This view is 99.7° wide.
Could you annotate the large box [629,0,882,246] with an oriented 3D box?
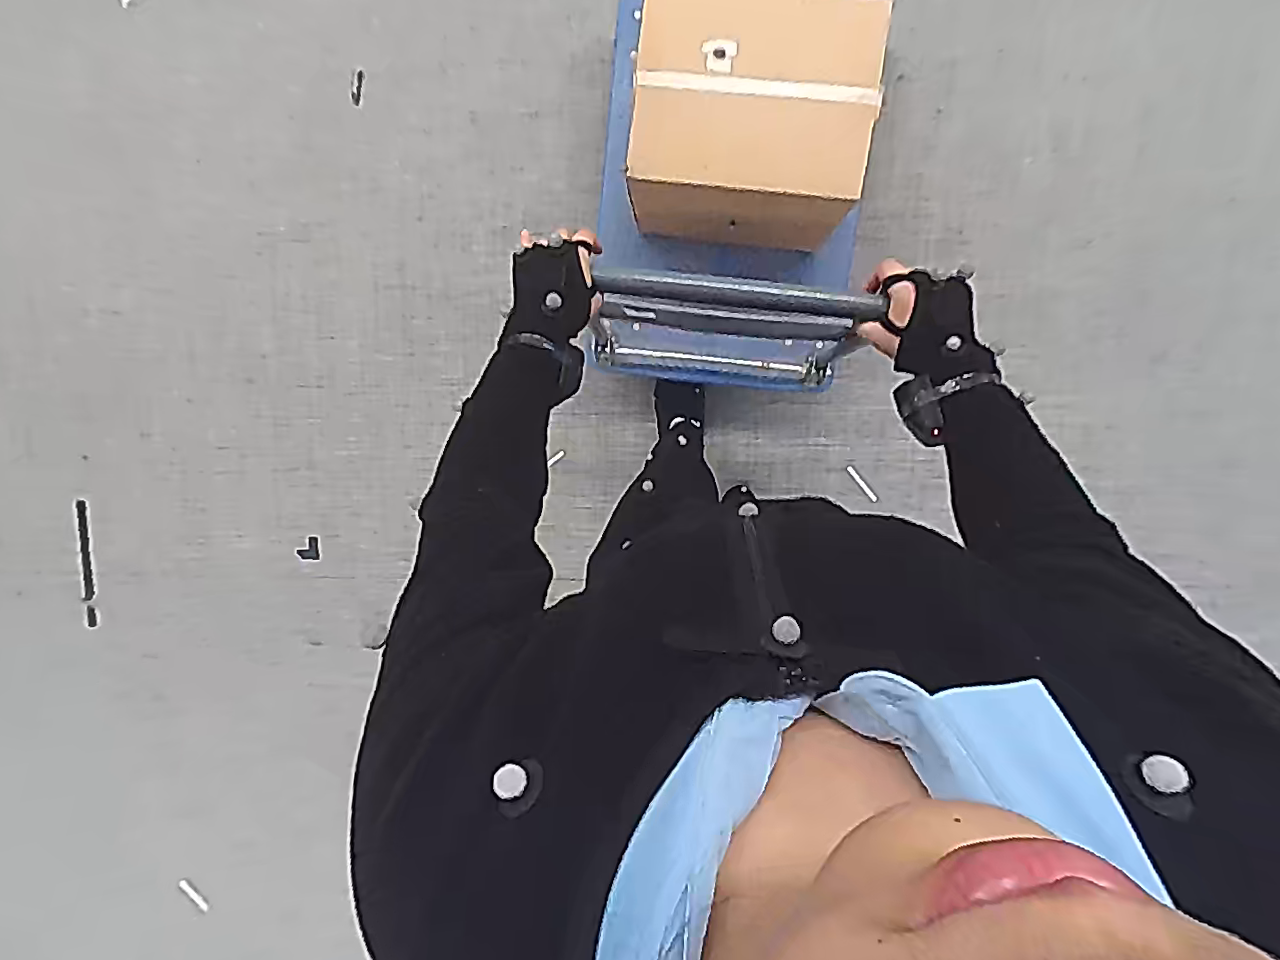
[{"bbox_3d":[0.207,-0.678,1.074,0.408,0.320,0.320,7,97,5],"label":"large box"}]
